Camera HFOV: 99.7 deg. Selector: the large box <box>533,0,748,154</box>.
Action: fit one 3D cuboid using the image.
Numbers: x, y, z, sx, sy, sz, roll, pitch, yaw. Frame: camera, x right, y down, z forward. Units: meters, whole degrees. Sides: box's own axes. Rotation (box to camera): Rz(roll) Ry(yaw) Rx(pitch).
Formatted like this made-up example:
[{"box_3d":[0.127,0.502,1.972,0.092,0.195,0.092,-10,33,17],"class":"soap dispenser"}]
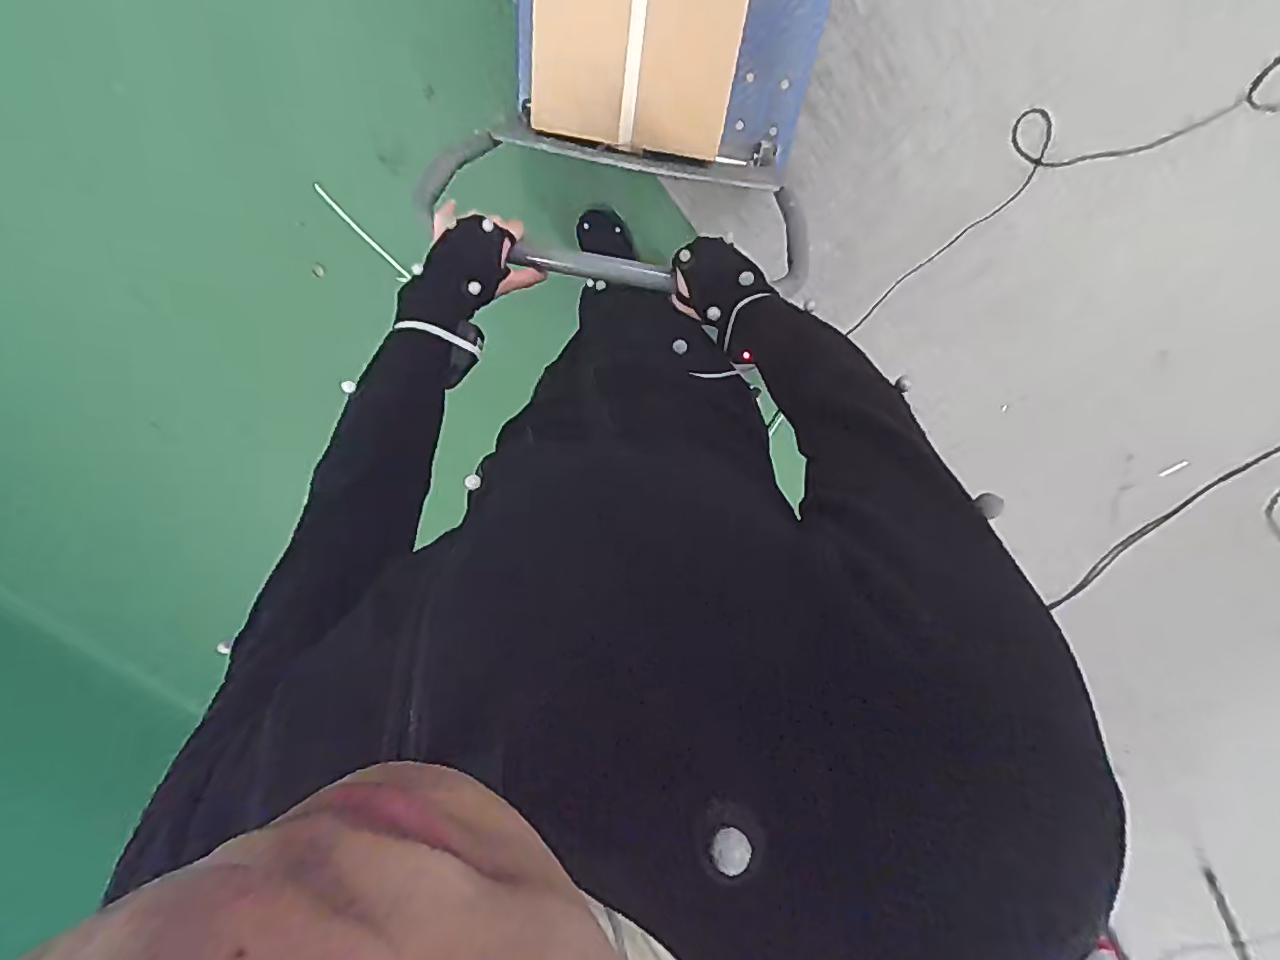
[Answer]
[{"box_3d":[0.017,-0.802,0.895,0.320,0.320,0.408,10,126,-1],"class":"large box"}]
